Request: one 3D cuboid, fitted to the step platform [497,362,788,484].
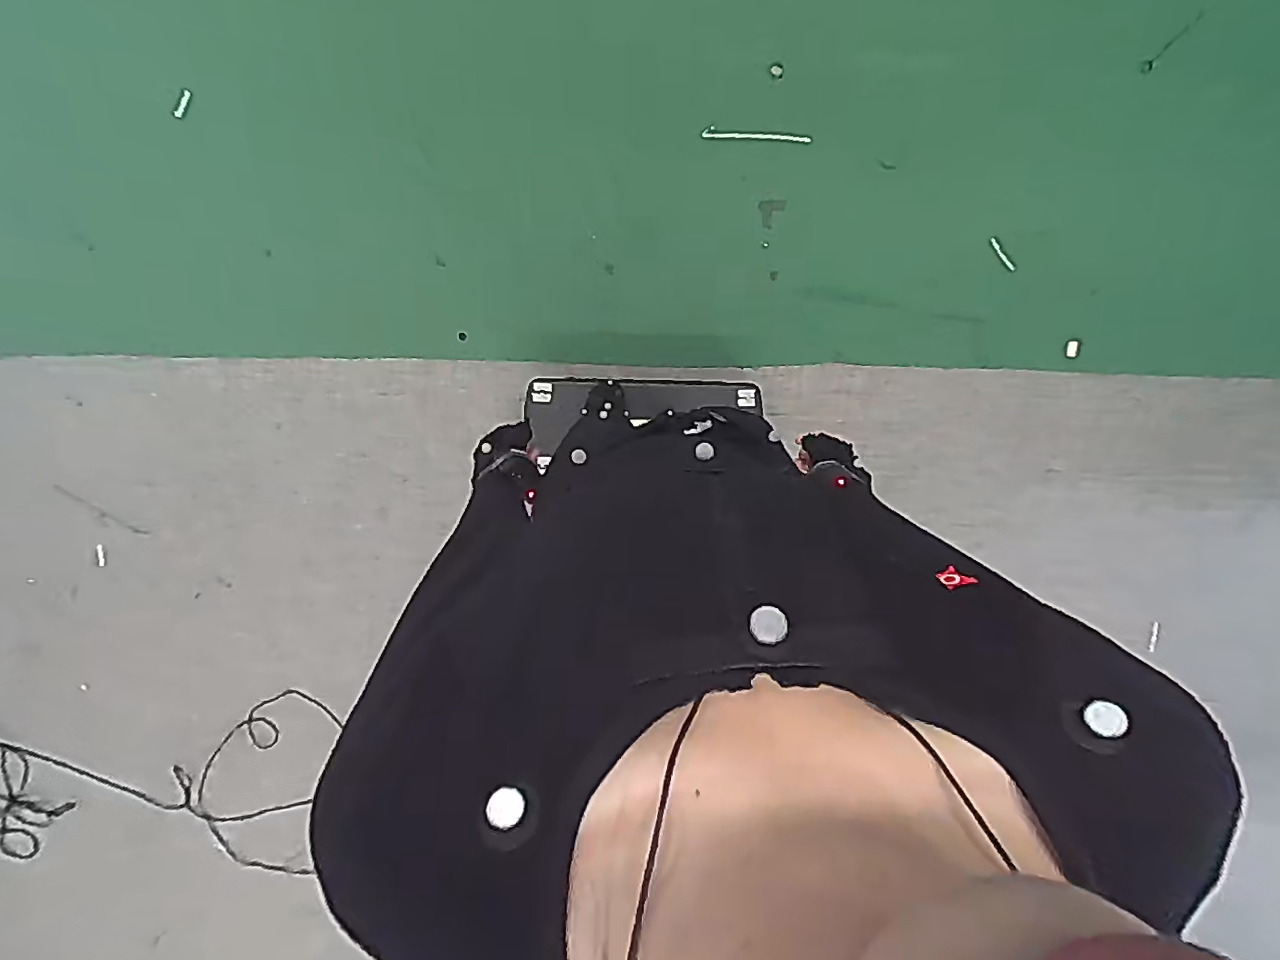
[{"bbox_3d":[0.006,-0.144,1.360,0.684,0.204,0.286,0,99,-1],"label":"step platform"}]
